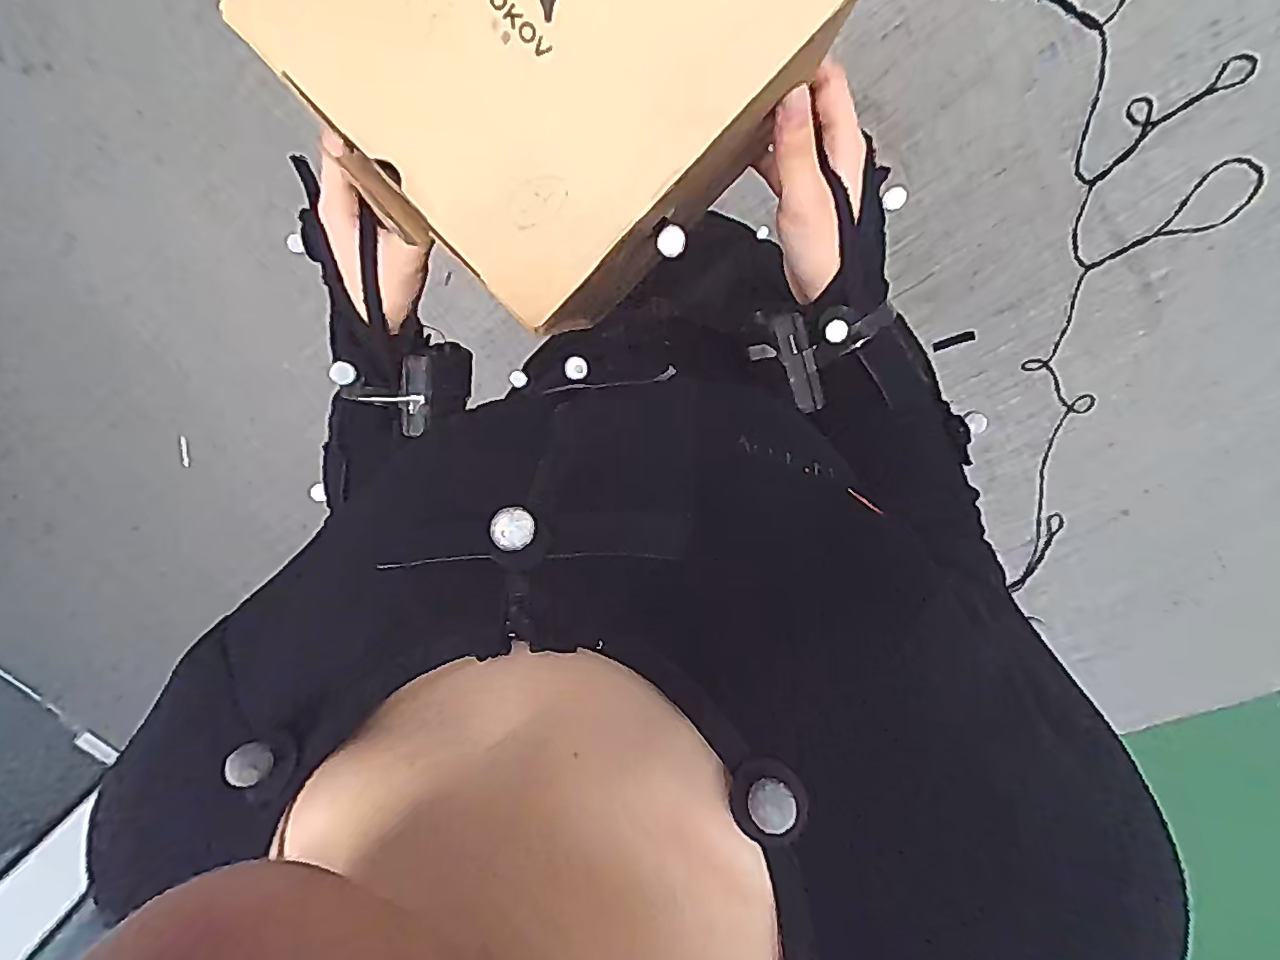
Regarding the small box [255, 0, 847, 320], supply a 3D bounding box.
[{"bbox_3d":[-0.031,-0.204,0.280,0.179,0.176,0.168,-42,100,15],"label":"small box"}]
